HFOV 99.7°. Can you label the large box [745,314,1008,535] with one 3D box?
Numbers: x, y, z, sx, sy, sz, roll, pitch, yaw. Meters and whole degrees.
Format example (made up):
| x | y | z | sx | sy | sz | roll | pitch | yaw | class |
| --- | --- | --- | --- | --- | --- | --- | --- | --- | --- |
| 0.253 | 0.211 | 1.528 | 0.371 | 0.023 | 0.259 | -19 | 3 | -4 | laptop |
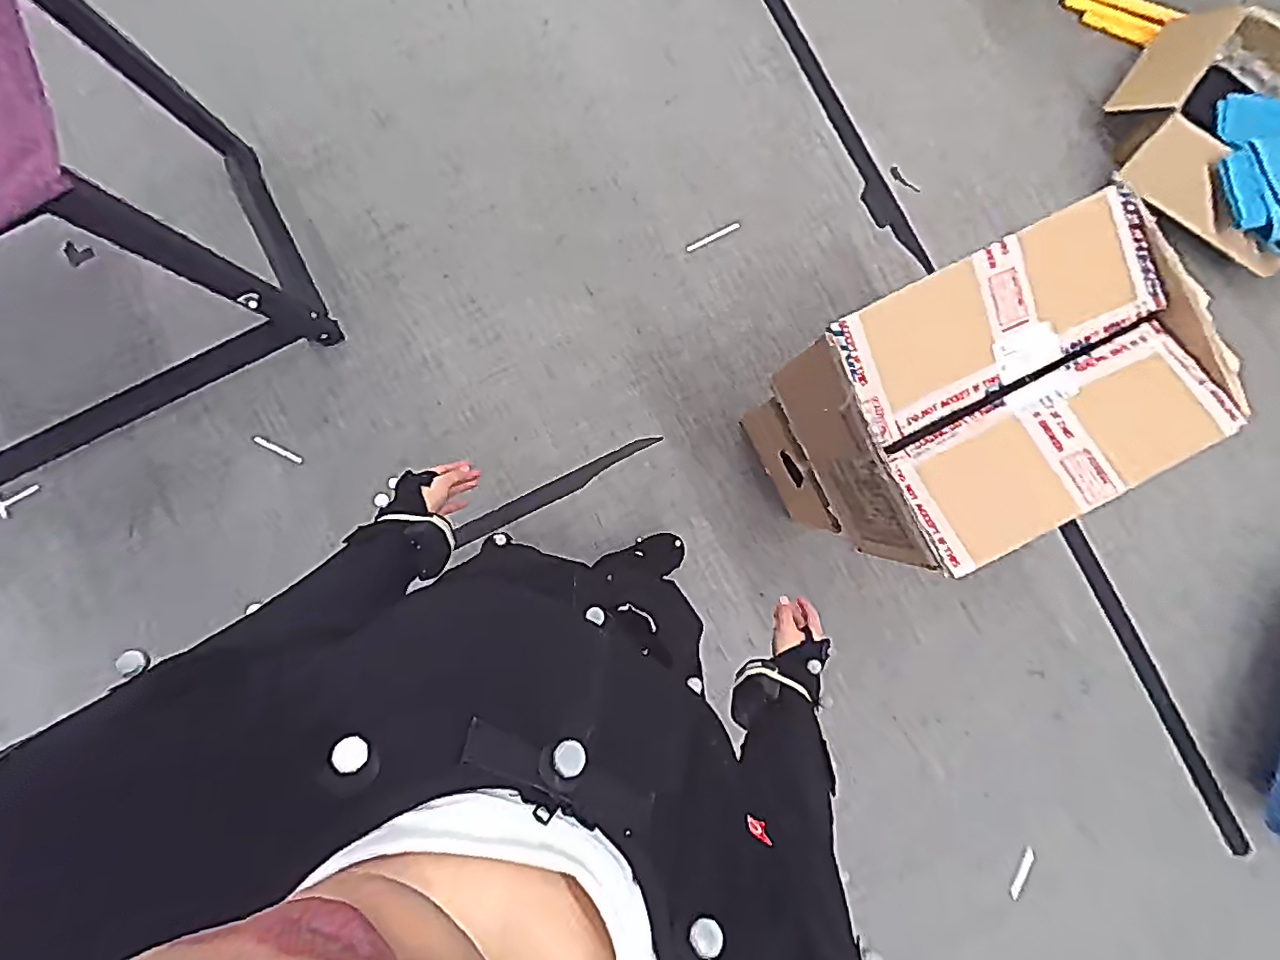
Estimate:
| x | y | z | sx | sy | sz | roll | pitch | yaw | class |
| --- | --- | --- | --- | --- | --- | --- | --- | --- | --- |
| 0.511 | -0.114 | 1.249 | 0.408 | 0.320 | 0.320 | -28 | 88 | 0 | large box |
